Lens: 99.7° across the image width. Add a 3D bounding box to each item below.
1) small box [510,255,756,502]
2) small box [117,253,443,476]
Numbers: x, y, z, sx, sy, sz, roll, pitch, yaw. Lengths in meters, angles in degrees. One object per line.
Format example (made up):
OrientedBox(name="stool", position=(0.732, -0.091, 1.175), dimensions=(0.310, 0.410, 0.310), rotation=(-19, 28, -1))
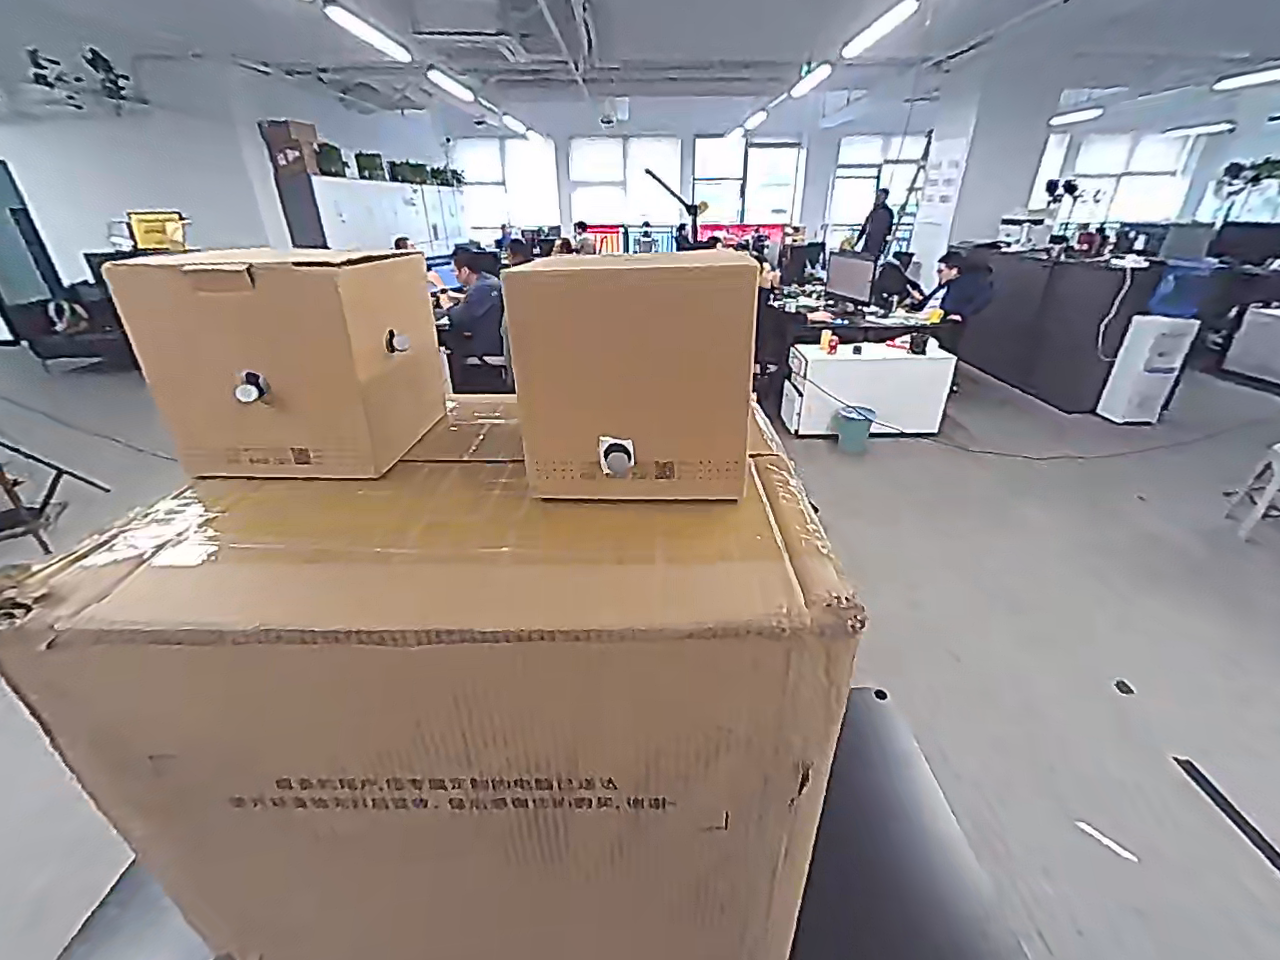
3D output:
OrientedBox(name="small box", position=(-0.001, -0.094, 0.460), dimensions=(0.168, 0.176, 0.179), rotation=(-1, 26, 3))
OrientedBox(name="small box", position=(-0.295, -0.111, 0.497), dimensions=(0.168, 0.176, 0.179), rotation=(1, 26, -1))
